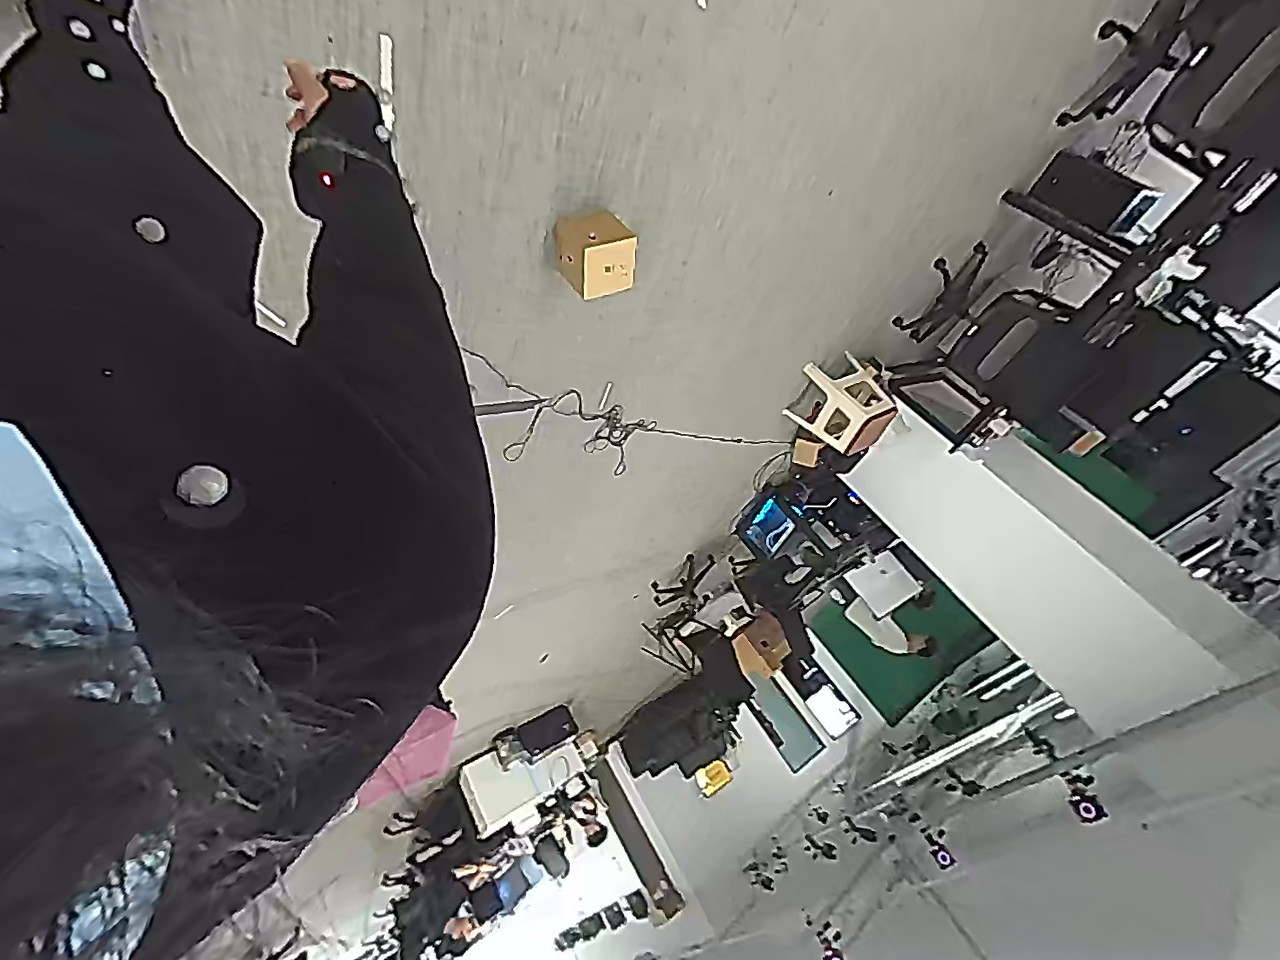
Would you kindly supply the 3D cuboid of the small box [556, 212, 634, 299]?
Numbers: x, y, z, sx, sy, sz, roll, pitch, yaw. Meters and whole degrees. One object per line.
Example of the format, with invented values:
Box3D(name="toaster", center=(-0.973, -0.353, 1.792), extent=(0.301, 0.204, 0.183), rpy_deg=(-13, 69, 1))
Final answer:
Box3D(name="small box", center=(-0.141, -0.672, 1.613), extent=(0.179, 0.176, 0.168), rpy_deg=(-24, 149, -24))
